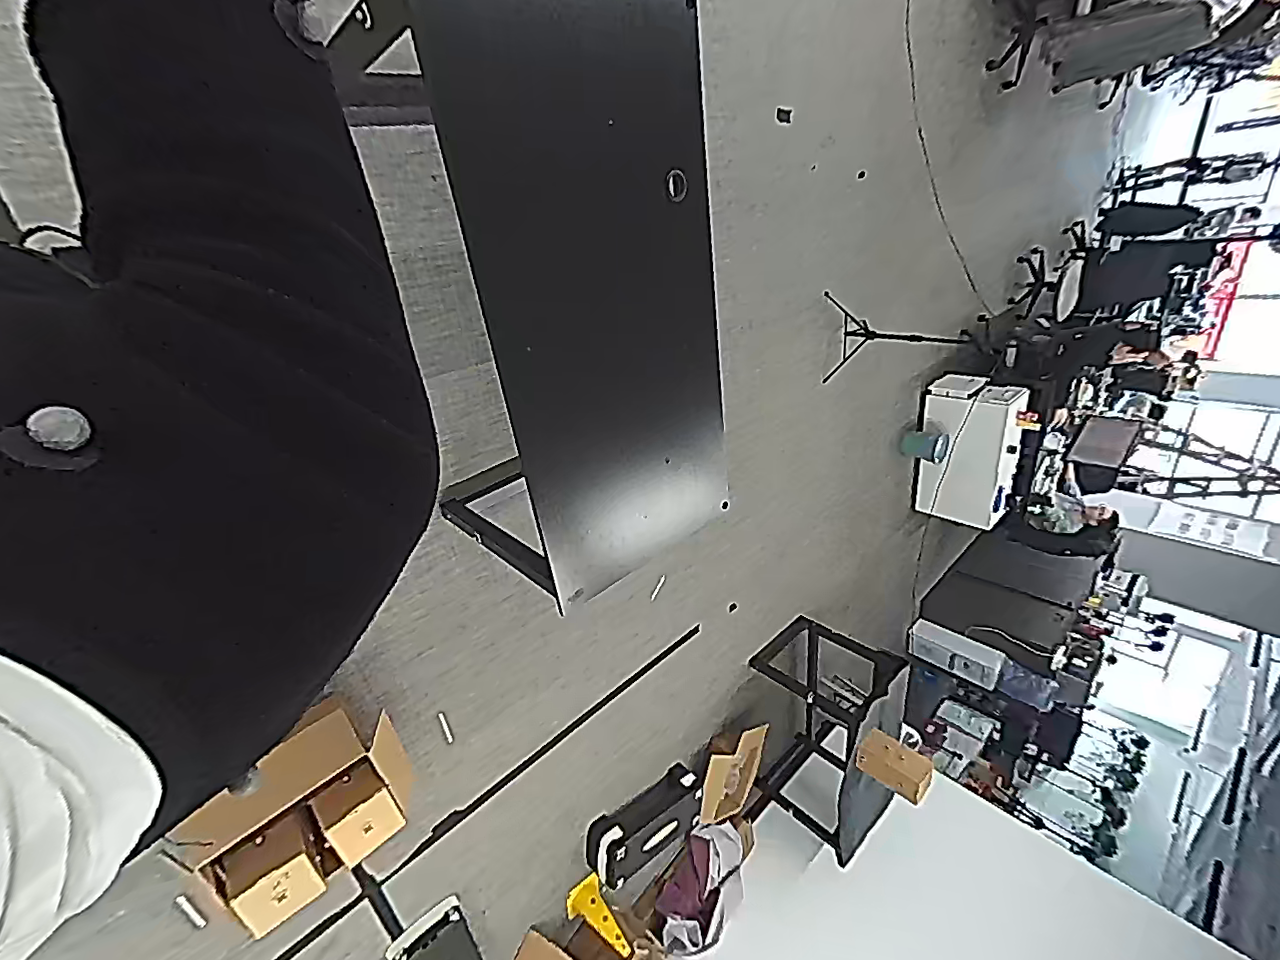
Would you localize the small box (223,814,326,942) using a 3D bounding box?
[{"bbox_3d":[-0.958,1.033,1.417,0.168,0.176,0.179,-26,121,-35],"label":"small box"}]
